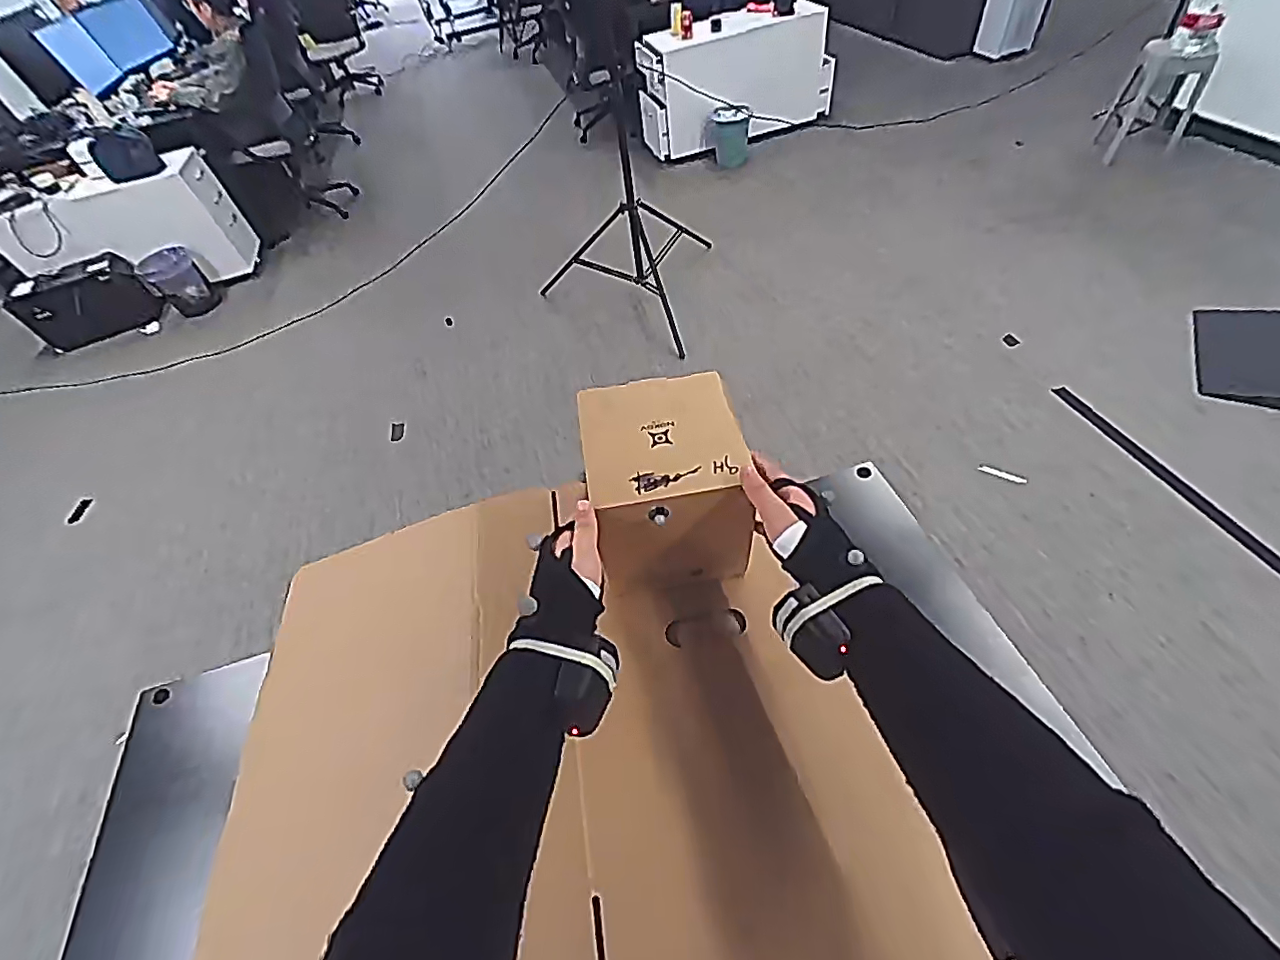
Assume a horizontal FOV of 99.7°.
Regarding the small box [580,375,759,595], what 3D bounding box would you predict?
[{"bbox_3d":[0.028,0.007,0.623,0.168,0.176,0.179,-10,49,-2],"label":"small box"}]
